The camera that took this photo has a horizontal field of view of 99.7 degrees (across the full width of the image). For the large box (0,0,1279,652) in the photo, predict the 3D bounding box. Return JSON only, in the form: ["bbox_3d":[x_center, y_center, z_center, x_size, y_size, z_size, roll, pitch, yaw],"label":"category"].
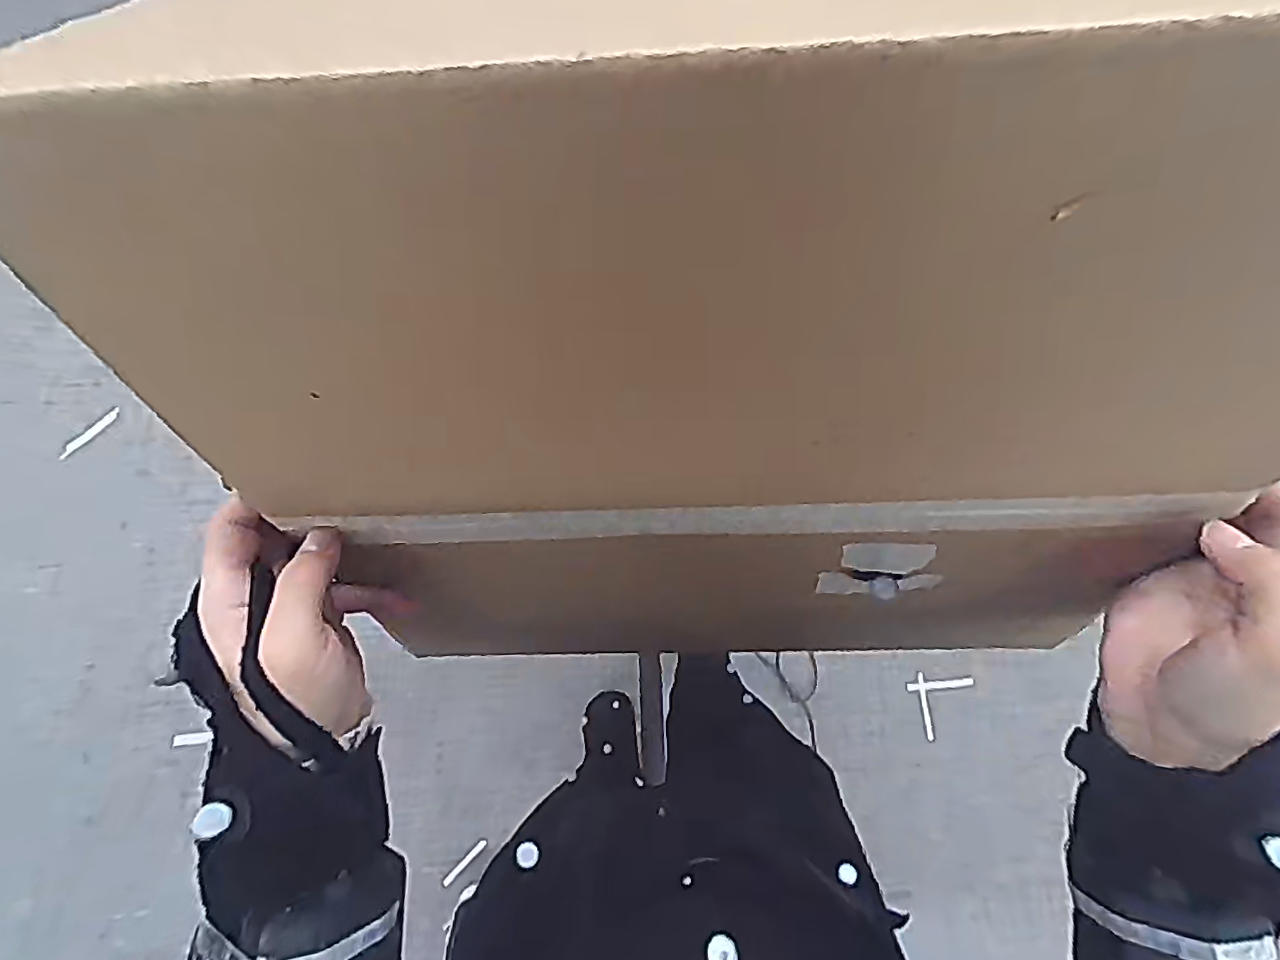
[{"bbox_3d":[0.041,-0.106,0.332,0.408,0.320,0.320,-3,52,2],"label":"large box"}]
